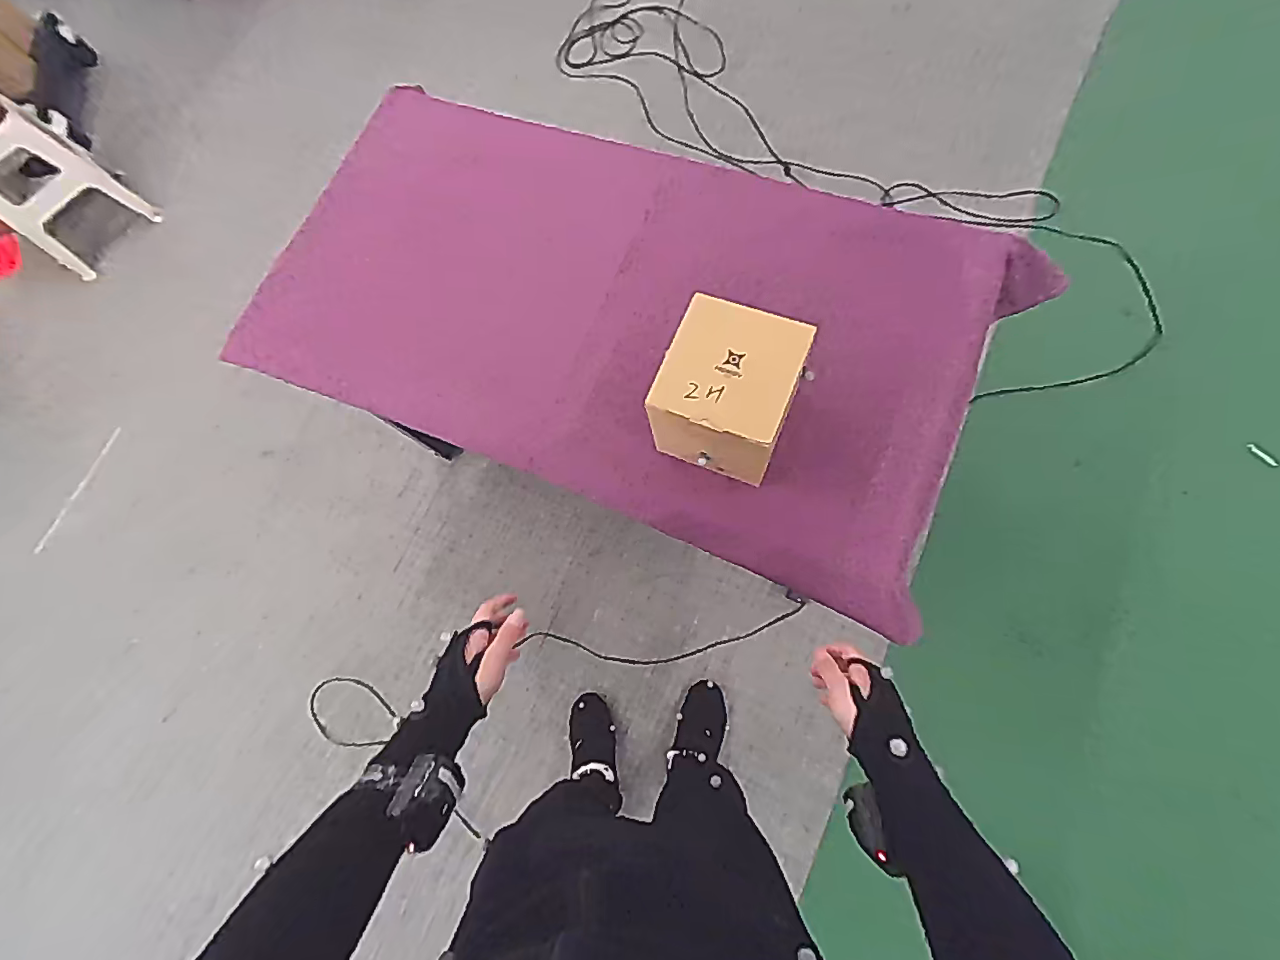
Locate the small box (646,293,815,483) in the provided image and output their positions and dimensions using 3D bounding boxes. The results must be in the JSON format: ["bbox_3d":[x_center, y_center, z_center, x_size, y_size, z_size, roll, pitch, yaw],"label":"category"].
[{"bbox_3d":[0.122,-0.120,0.753,0.168,0.176,0.179,22,77,14],"label":"small box"}]
